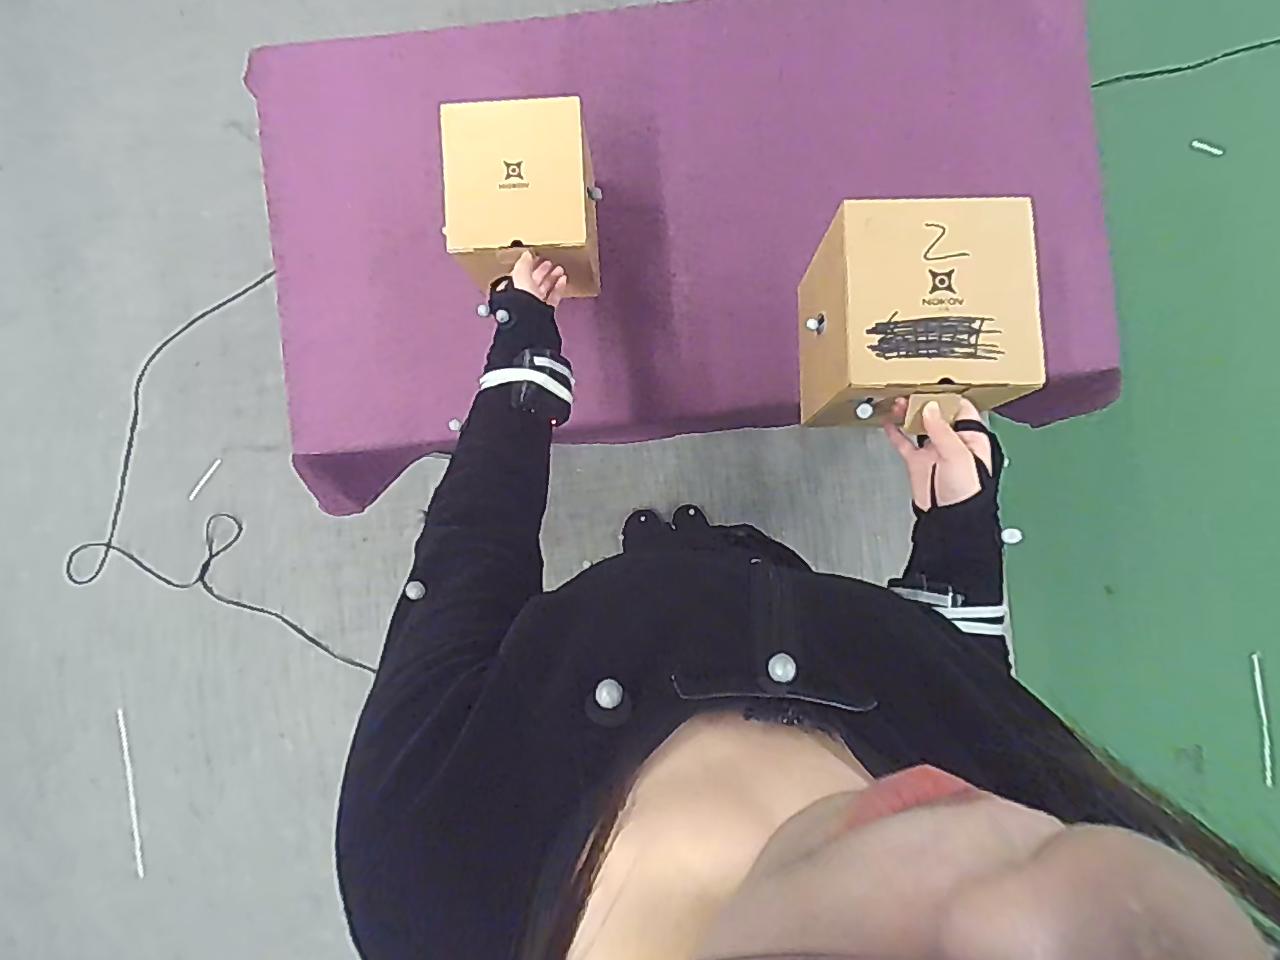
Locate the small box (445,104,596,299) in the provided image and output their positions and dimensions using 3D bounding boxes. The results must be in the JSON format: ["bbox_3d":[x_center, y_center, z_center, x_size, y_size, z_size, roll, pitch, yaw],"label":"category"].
[{"bbox_3d":[-0.149,-0.359,0.724,0.168,0.176,0.179,-3,90,1],"label":"small box"}]
